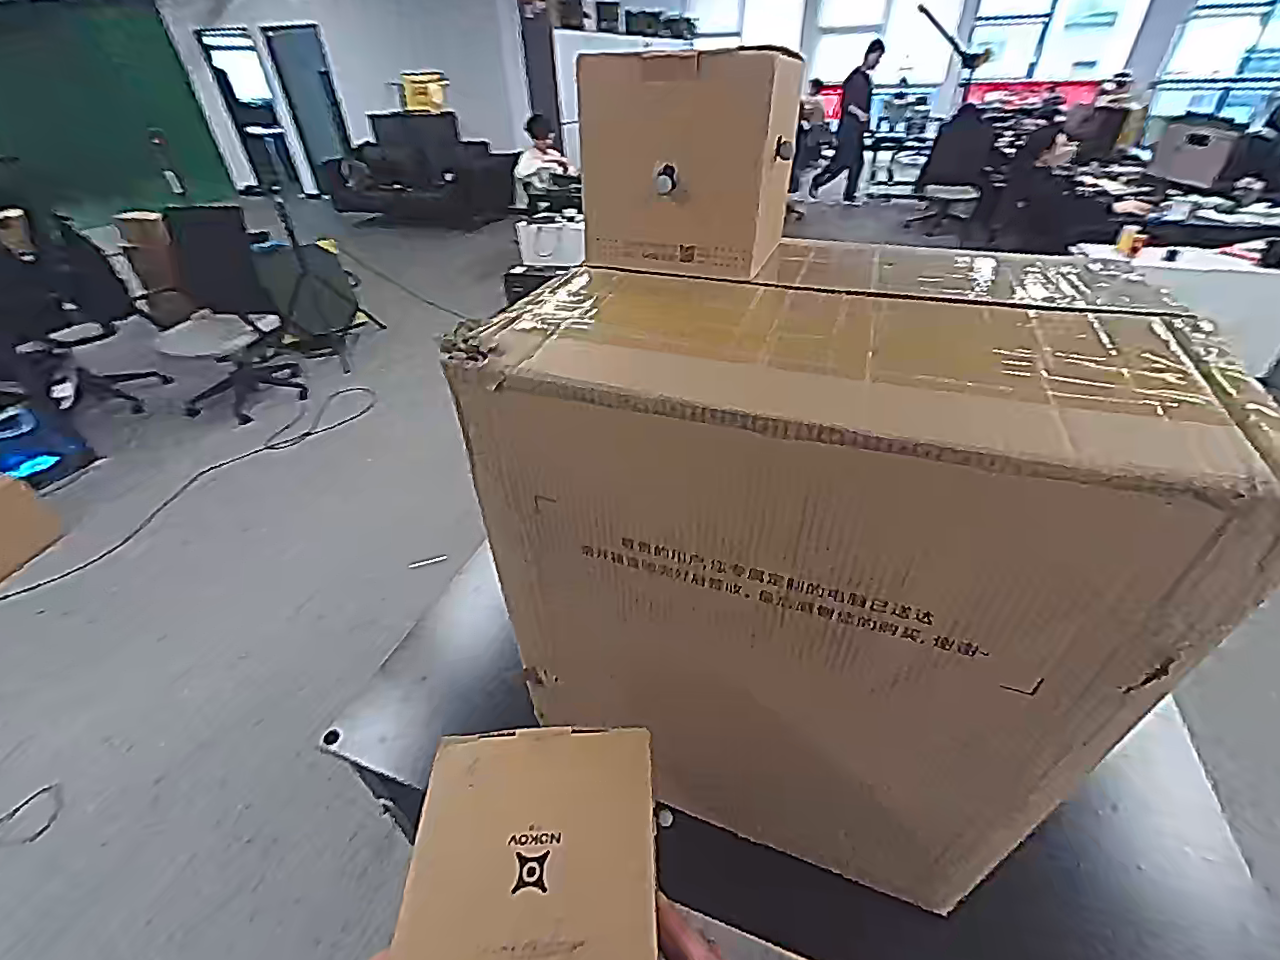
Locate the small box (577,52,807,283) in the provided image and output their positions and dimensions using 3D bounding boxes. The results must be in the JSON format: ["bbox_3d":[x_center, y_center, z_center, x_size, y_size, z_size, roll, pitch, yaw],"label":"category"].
[{"bbox_3d":[0.056,-0.301,0.523,0.168,0.176,0.179,12,38,16],"label":"small box"}]
